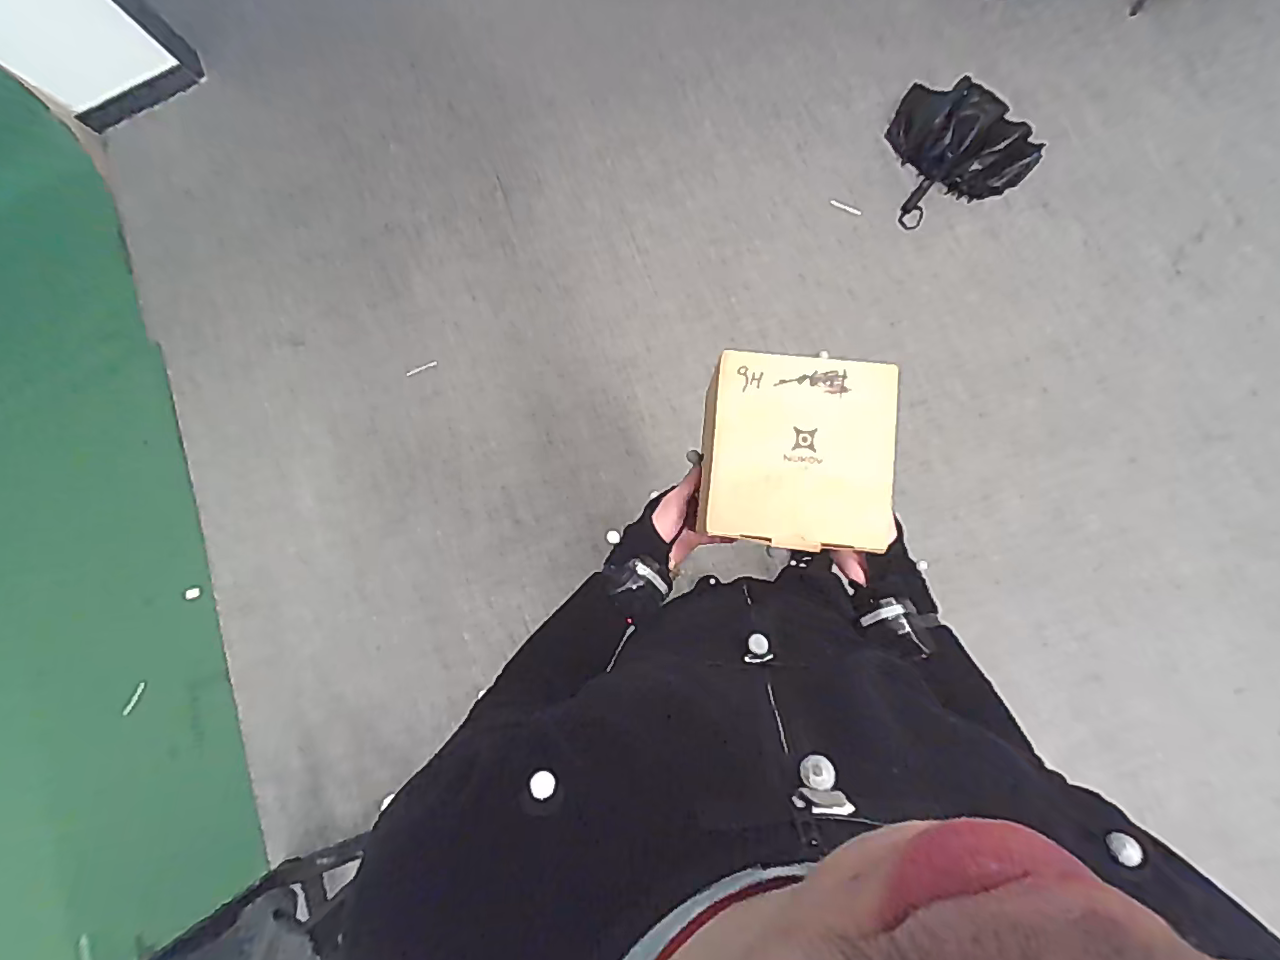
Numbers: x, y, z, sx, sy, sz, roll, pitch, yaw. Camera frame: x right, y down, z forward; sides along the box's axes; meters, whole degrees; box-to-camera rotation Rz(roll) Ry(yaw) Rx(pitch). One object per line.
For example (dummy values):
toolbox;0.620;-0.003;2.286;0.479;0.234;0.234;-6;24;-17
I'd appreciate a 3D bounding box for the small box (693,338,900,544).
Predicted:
small box;0.148;-0.032;0.567;0.168;0.176;0.179;6;86;1
